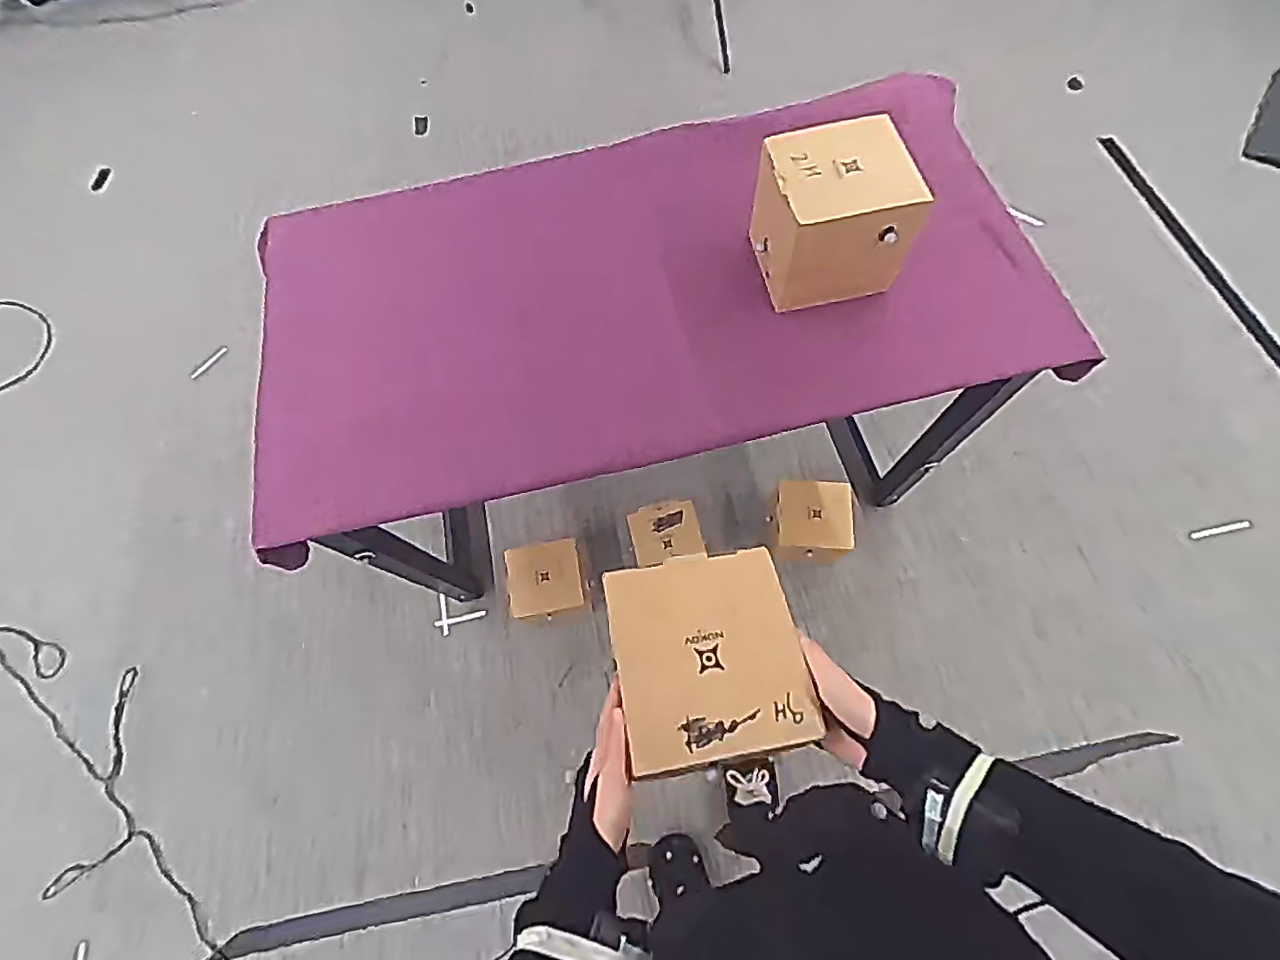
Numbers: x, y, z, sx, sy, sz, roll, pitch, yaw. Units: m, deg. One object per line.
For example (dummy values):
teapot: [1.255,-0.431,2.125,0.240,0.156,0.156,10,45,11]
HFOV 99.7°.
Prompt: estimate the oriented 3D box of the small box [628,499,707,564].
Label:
small box: [0.071,0.169,1.362,0.168,0.176,0.179,-14,70,-1]

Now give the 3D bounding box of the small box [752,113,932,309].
small box: [0.271,-0.373,0.771,0.179,0.176,0.168,-11,68,1]

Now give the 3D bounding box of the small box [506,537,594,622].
small box: [-0.222,0.255,1.354,0.179,0.176,0.168,-10,69,-1]

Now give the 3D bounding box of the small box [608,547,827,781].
small box: [0.059,0.189,0.544,0.168,0.176,0.179,-8,60,-6]

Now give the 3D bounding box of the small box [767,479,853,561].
small box: [0.422,0.104,1.362,0.179,0.176,0.168,3,70,7]
